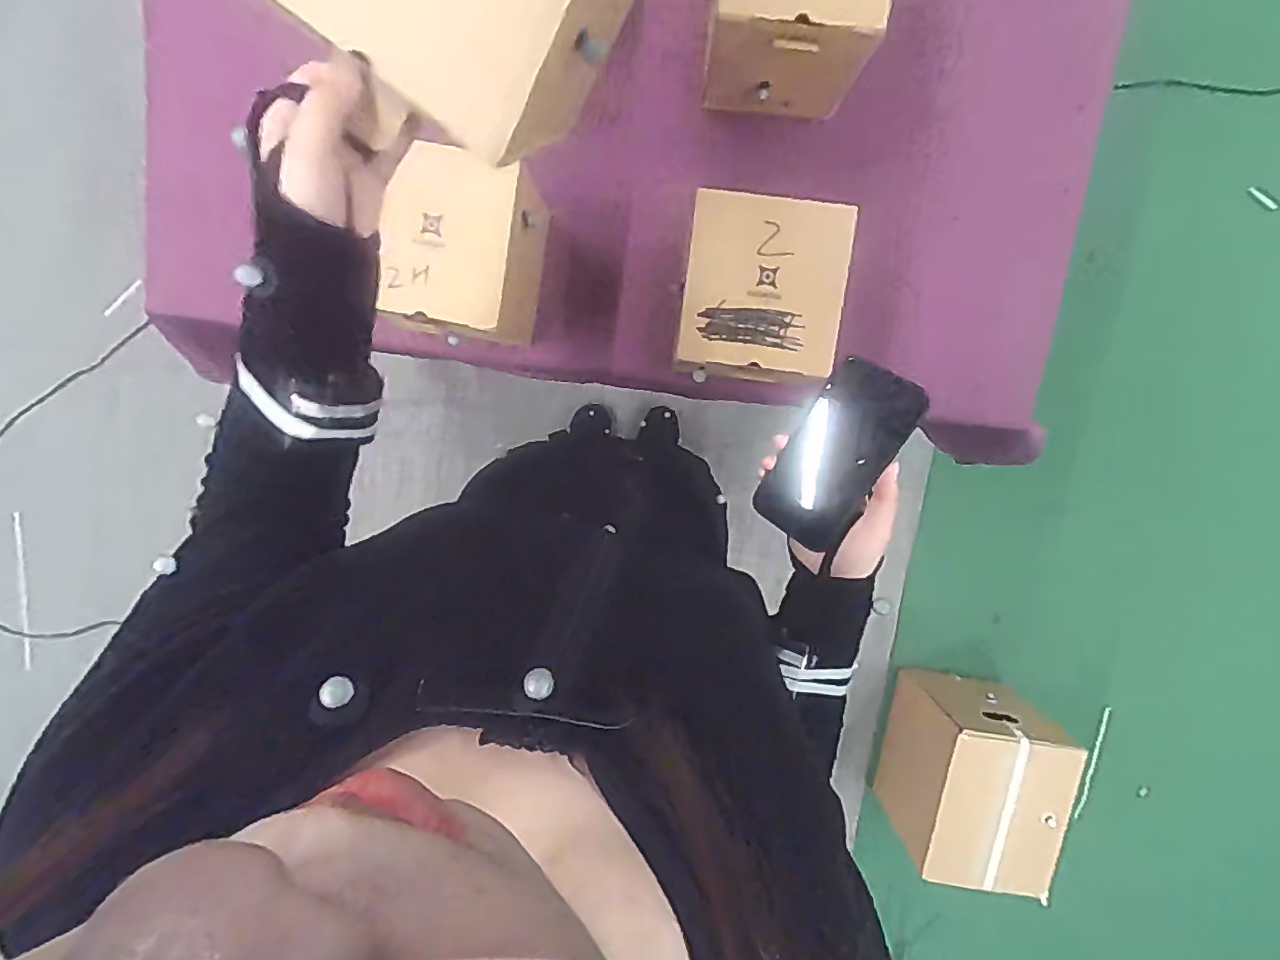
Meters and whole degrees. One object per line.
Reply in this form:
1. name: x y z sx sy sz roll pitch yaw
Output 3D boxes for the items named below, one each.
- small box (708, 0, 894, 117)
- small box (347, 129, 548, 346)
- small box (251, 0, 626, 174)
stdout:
1. small box: 0.170 -0.537 0.586 0.168 0.176 0.179 6 100 0
2. small box: -0.210 -0.266 0.635 0.168 0.176 0.179 11 98 0
3. small box: -0.094 -0.313 0.299 0.168 0.176 0.179 33 125 -17
